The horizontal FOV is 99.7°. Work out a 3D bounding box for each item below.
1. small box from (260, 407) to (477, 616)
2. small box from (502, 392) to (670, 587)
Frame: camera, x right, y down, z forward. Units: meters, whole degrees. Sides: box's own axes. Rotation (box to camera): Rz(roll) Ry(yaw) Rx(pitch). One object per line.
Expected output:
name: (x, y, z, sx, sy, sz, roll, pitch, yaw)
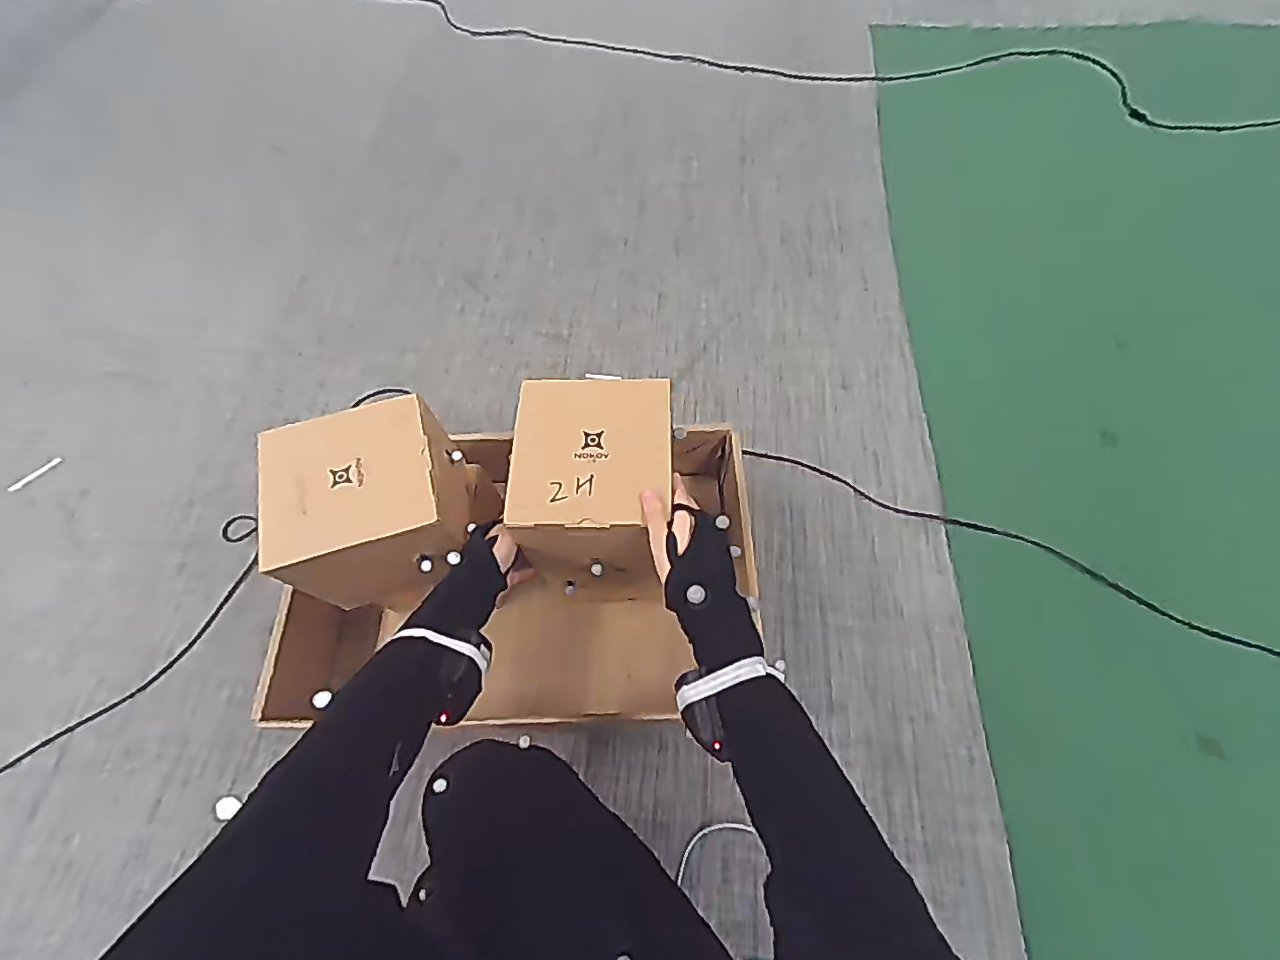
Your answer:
small box: (-0.303, 0.044, 0.634, 0.179, 0.176, 0.168, -16, 64, -5)
small box: (-0.049, 0.016, 0.633, 0.168, 0.176, 0.179, 0, 64, 3)
